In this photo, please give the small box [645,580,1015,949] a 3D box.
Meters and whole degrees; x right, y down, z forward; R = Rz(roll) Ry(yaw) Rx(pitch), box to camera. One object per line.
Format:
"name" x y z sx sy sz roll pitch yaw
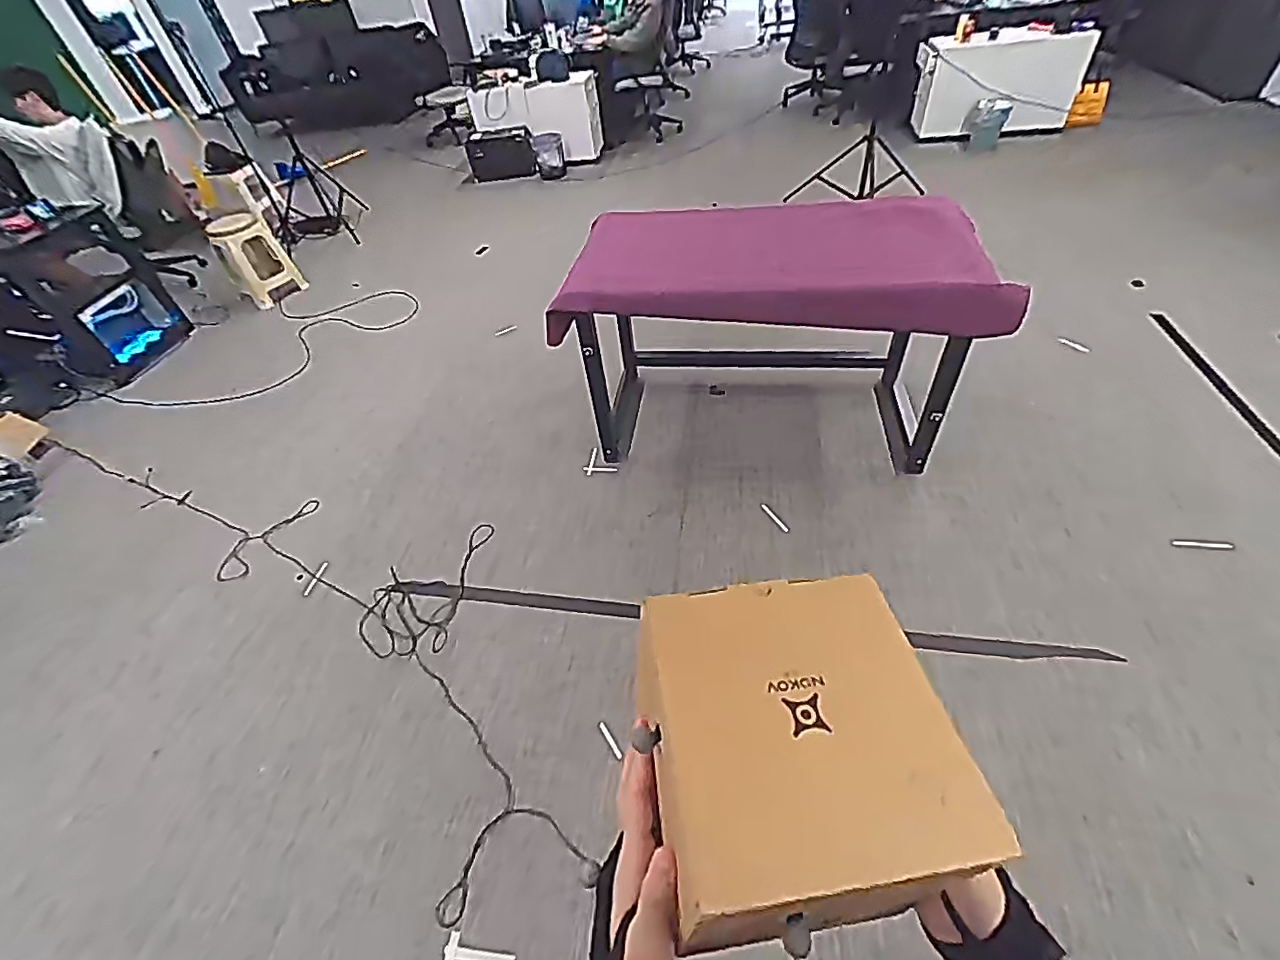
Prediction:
"small box" 0.097 0.197 0.376 0.168 0.176 0.179 -5 43 -7
